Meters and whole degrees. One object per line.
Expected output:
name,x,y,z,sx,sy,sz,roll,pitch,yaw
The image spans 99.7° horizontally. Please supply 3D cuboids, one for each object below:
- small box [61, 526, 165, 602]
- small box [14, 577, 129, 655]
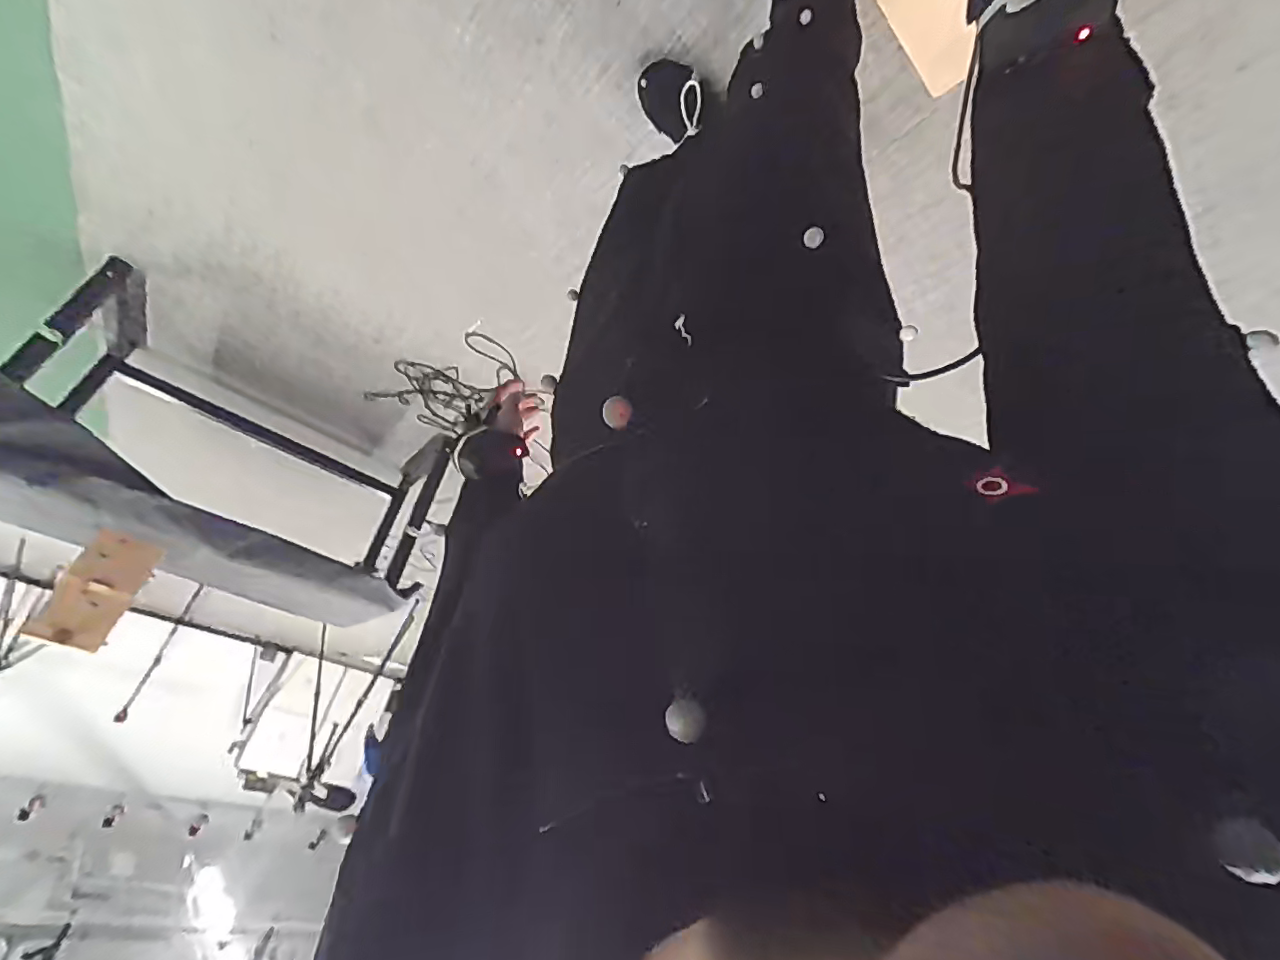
small box,-1.577,0.251,1.624,0.168,0.176,0.179,34,145,-31
small box,-1.621,0.390,1.551,0.179,0.176,0.168,-20,136,42
